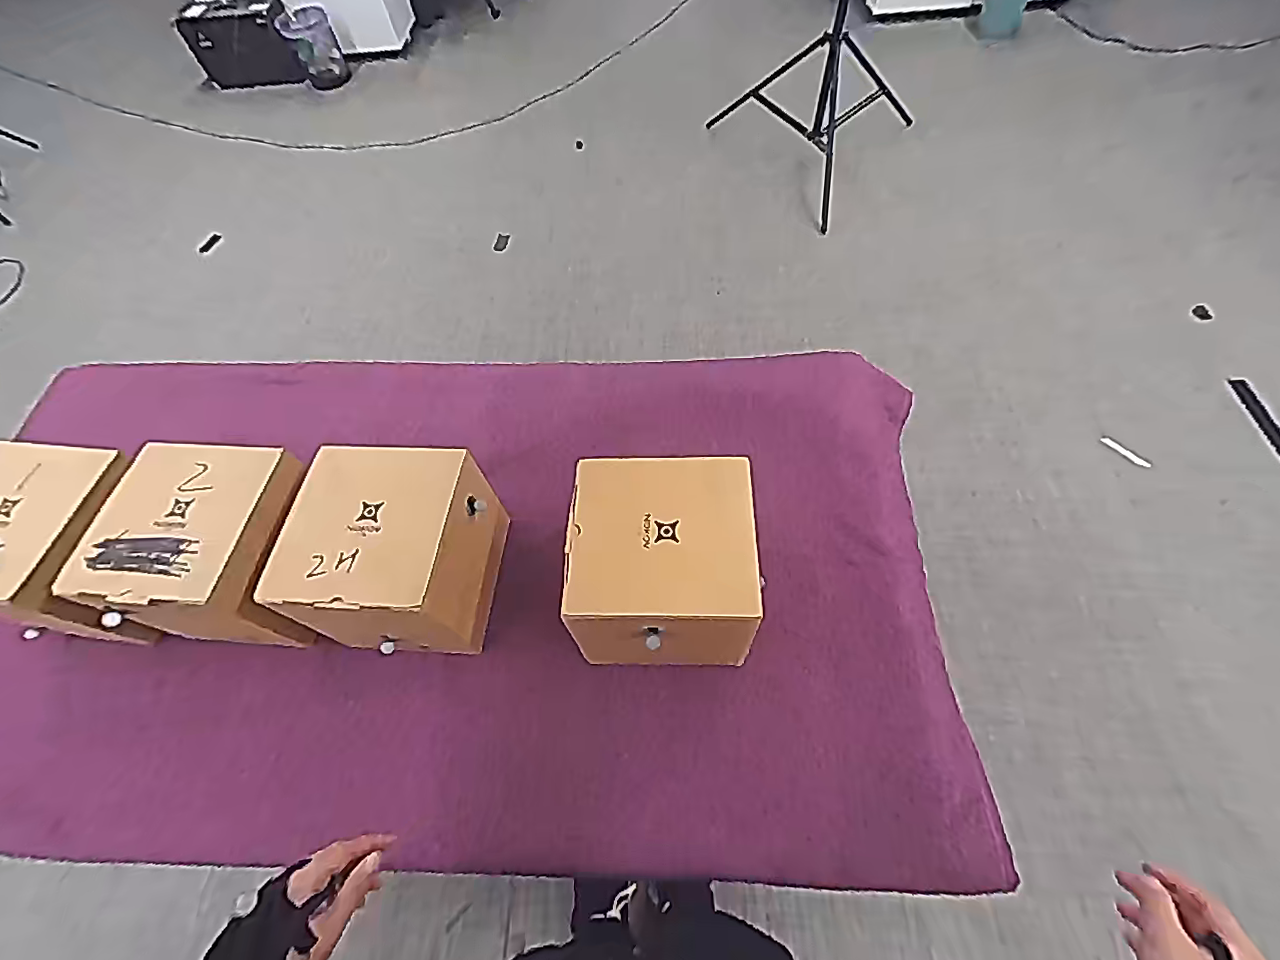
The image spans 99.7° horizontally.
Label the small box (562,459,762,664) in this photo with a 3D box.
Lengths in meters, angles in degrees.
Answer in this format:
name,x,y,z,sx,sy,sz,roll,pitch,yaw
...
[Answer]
name,x,y,z,sx,sy,sz,roll,pitch,yaw
small box,0.026,0.092,0.573,0.179,0.176,0.168,-1,58,5
